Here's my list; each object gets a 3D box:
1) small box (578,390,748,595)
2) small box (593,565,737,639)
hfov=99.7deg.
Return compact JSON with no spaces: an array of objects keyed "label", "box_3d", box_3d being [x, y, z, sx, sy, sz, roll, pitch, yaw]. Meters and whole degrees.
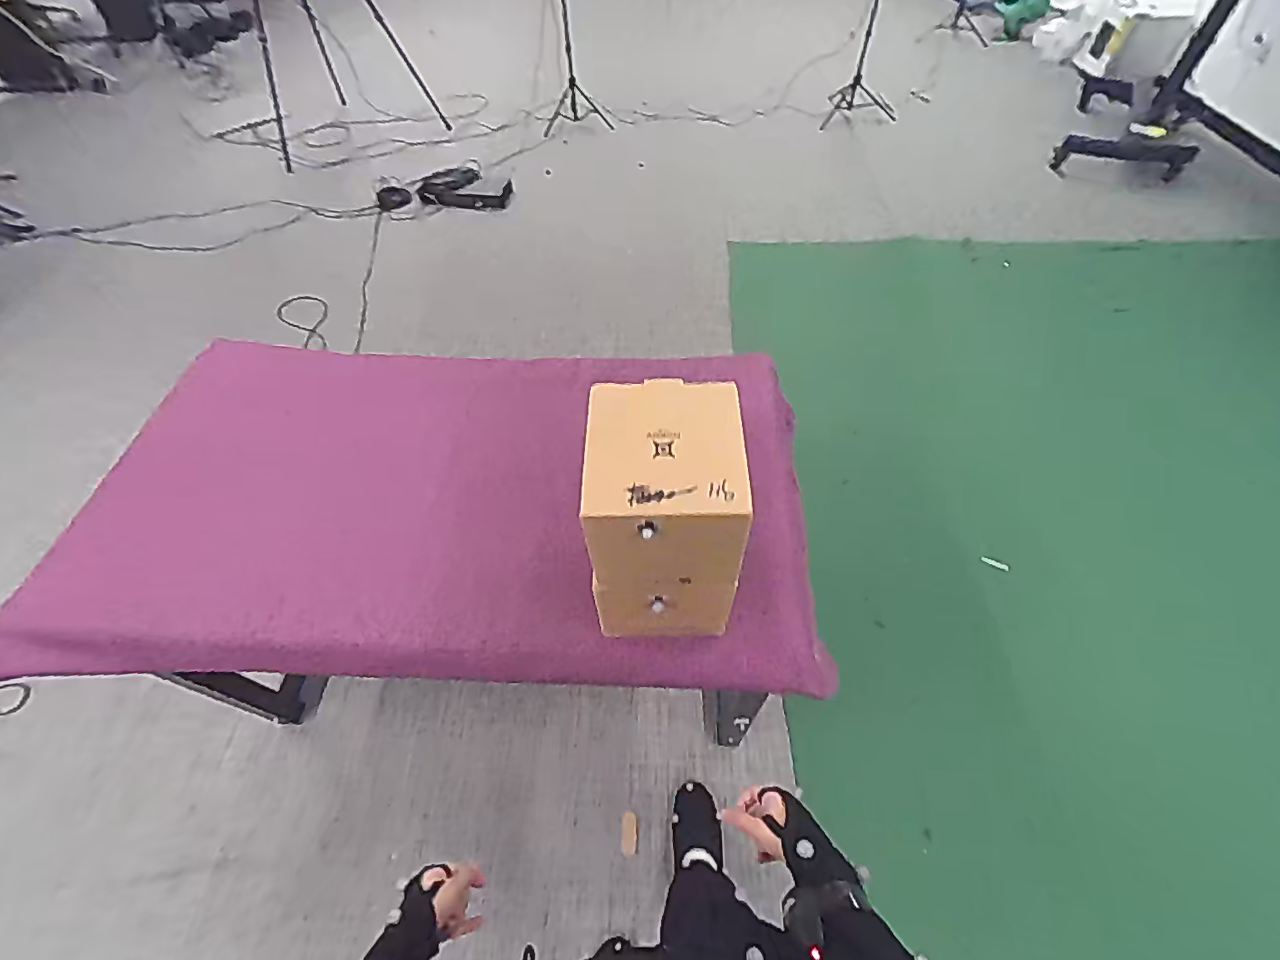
[{"label":"small box","box_3d":[0.027,0.018,0.626,0.168,0.176,0.179,-2,54,4]},{"label":"small box","box_3d":[0.034,0.116,0.758,0.179,0.176,0.168,-2,54,3]}]
